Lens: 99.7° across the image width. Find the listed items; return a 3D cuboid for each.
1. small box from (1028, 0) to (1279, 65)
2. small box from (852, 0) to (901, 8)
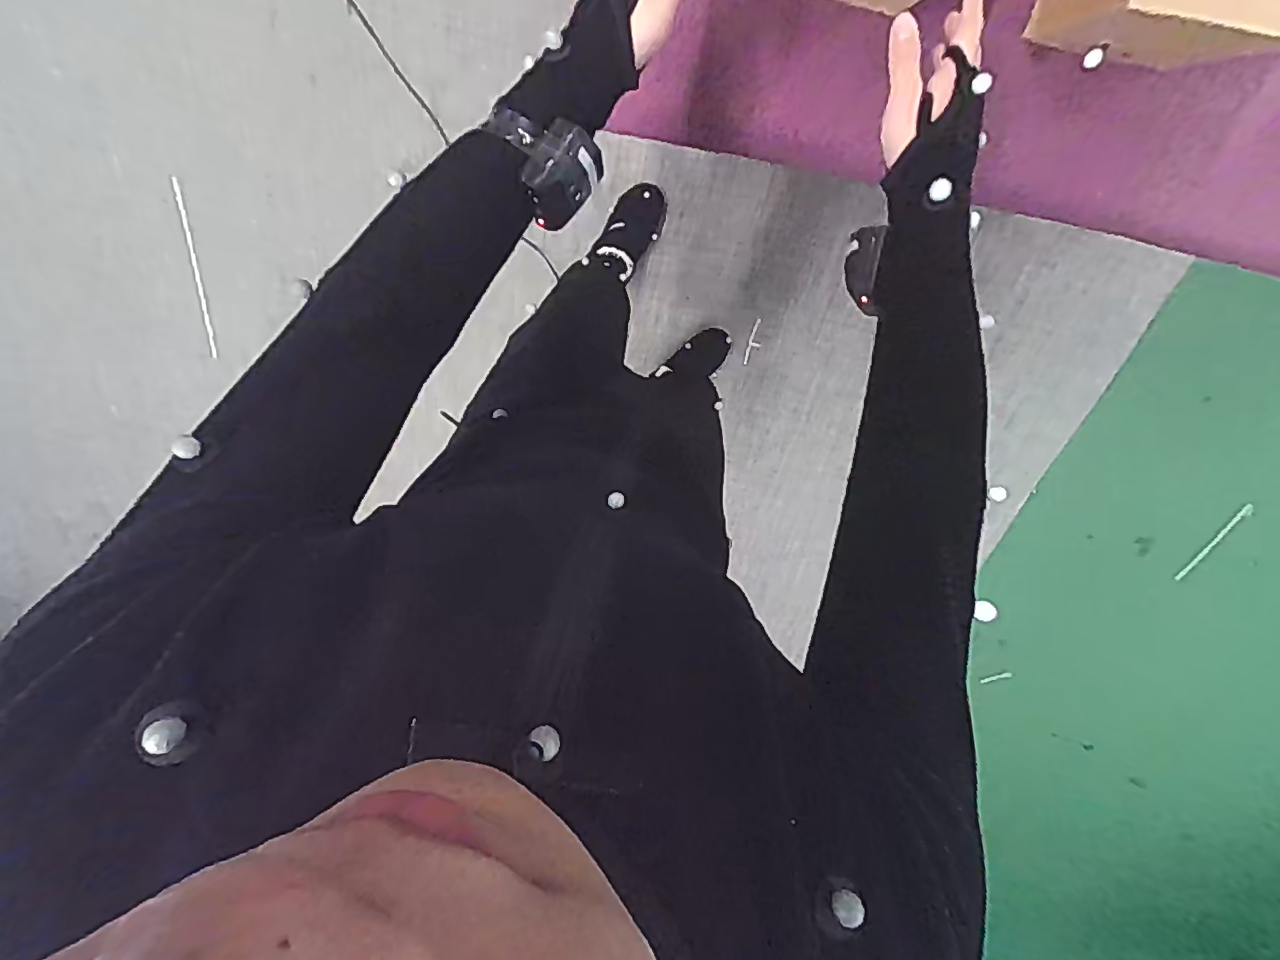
[{"bbox_3d":[0.487,-0.489,0.464,0.168,0.176,0.179,10,121,-2],"label":"small box"},{"bbox_3d":[0.199,-0.538,0.453,0.168,0.176,0.179,12,120,-3],"label":"small box"}]
